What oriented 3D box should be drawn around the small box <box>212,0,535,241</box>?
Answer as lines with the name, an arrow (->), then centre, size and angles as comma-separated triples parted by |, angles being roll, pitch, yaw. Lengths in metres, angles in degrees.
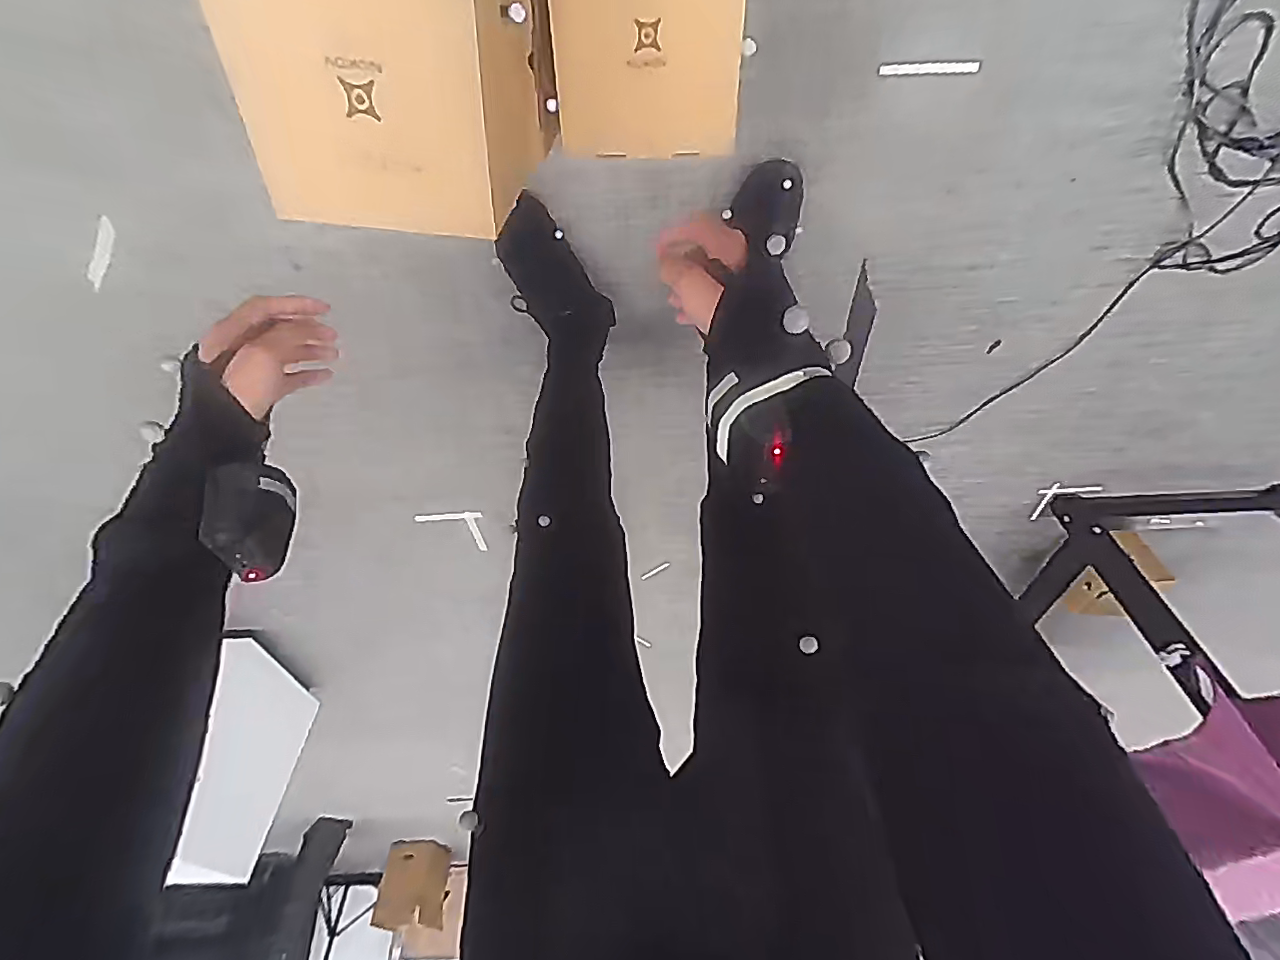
small box -> -0.175, -0.307, 0.407 | 0.168, 0.176, 0.179 | 5, 134, -3
